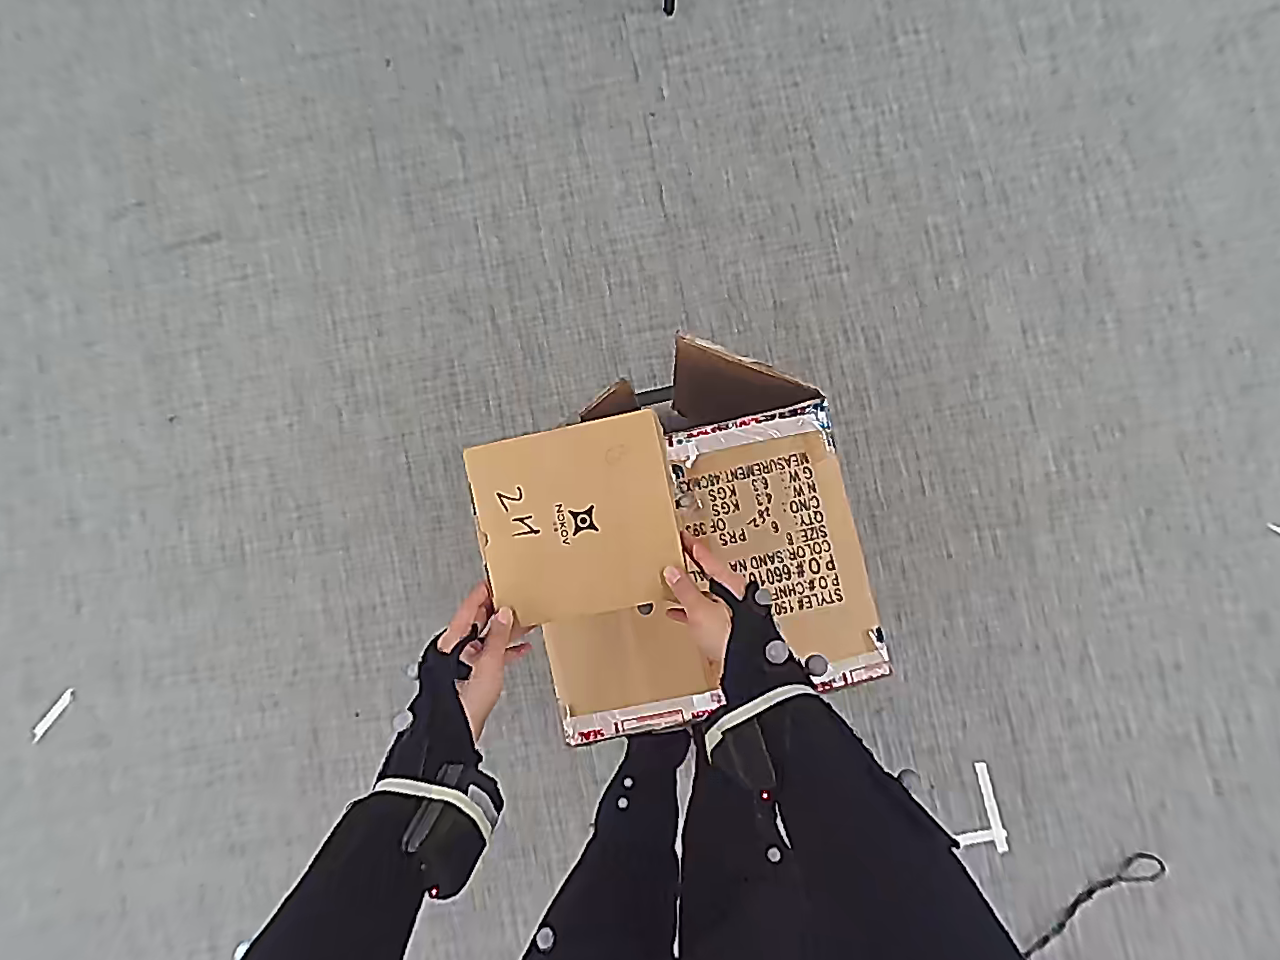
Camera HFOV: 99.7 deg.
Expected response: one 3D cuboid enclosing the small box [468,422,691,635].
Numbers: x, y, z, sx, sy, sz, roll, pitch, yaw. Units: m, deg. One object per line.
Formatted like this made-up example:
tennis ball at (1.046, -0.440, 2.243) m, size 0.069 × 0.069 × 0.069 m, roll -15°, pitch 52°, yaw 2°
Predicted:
small box at (-0.049, 0.044, 0.556) m, size 0.179 × 0.176 × 0.168 m, roll -12°, pitch 88°, yaw 5°
